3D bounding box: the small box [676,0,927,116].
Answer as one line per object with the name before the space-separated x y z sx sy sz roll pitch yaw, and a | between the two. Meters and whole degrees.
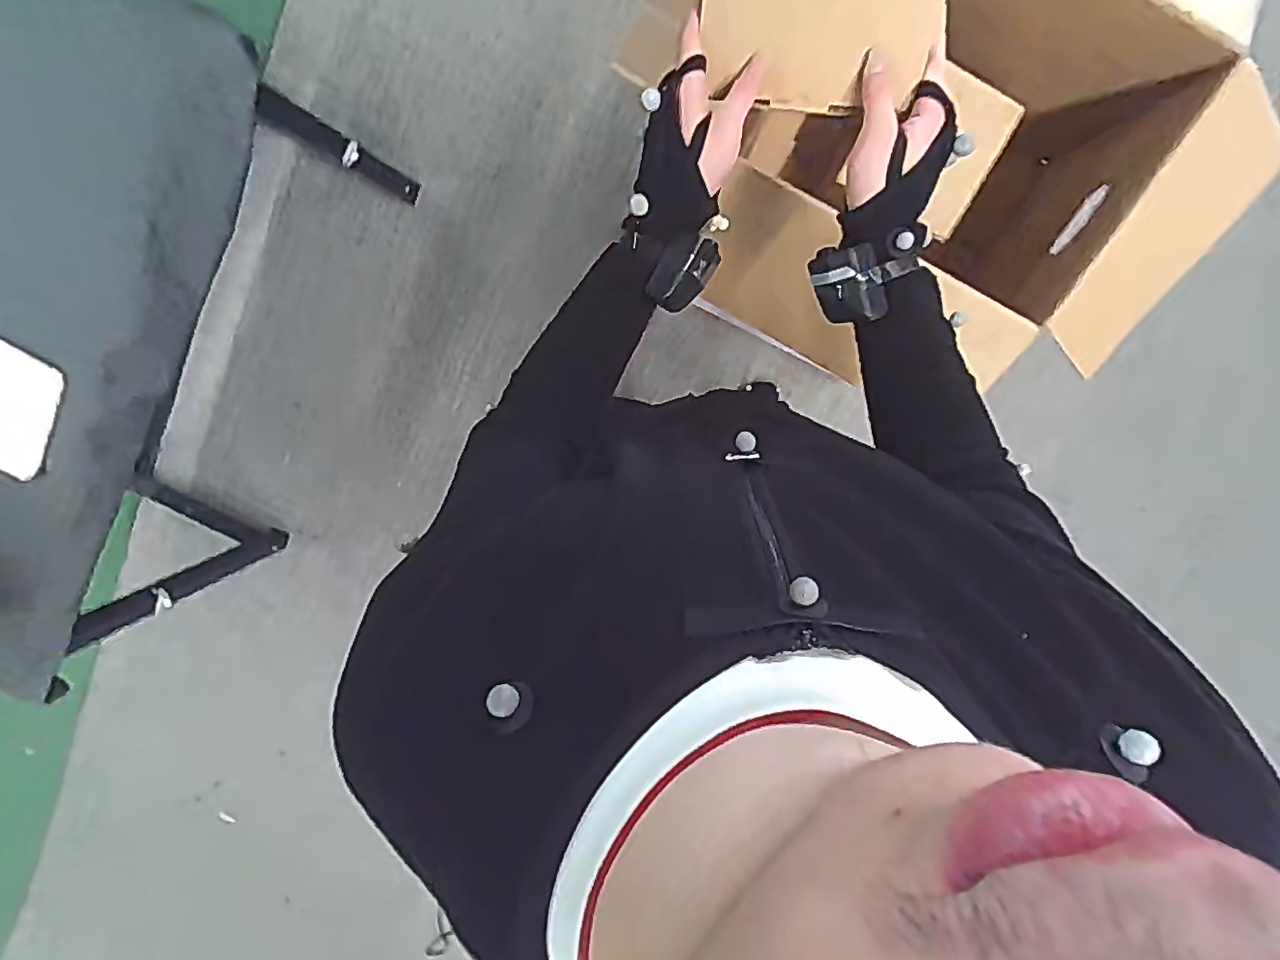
small box | 0.128 -0.391 0.412 0.168 0.176 0.179 9 127 8
